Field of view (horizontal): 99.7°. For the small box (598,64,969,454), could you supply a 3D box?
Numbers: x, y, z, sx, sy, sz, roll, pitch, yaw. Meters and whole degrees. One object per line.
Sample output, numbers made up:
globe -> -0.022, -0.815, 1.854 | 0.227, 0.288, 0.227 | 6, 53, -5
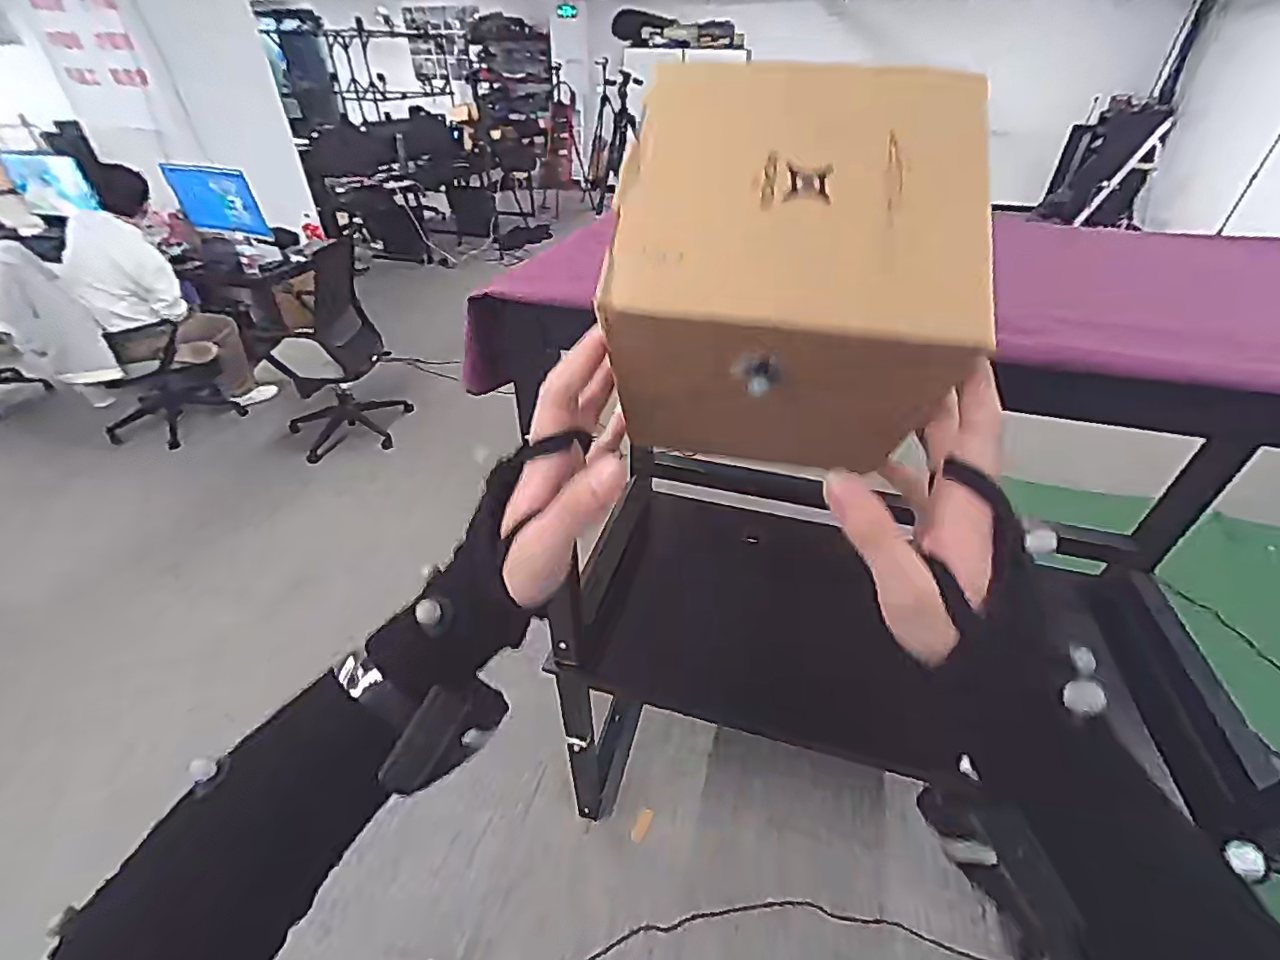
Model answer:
small box -> 0.085, -0.129, 0.356 | 0.179, 0.176, 0.168 | 9, 71, 8
